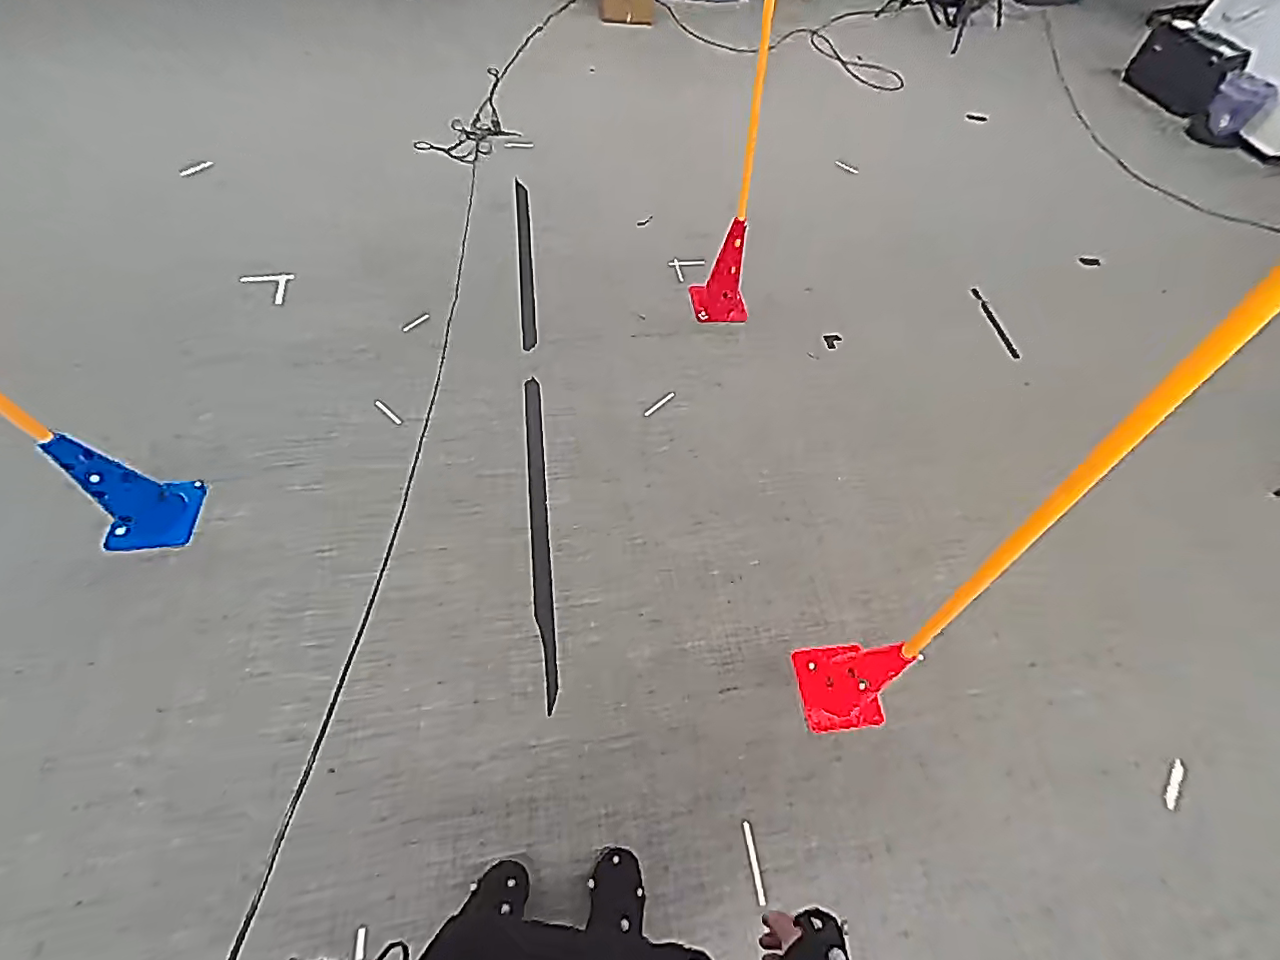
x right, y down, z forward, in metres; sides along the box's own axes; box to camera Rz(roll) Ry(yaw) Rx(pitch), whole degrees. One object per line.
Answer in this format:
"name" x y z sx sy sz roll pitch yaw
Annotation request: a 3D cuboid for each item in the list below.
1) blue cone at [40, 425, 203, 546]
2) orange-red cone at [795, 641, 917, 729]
"blue cone" -1.281 0.003 1.310 0.193 0.380 0.192 -2 58 -7
"orange-red cone" 0.514 0.426 1.212 0.198 0.360 0.199 -2 60 -7
